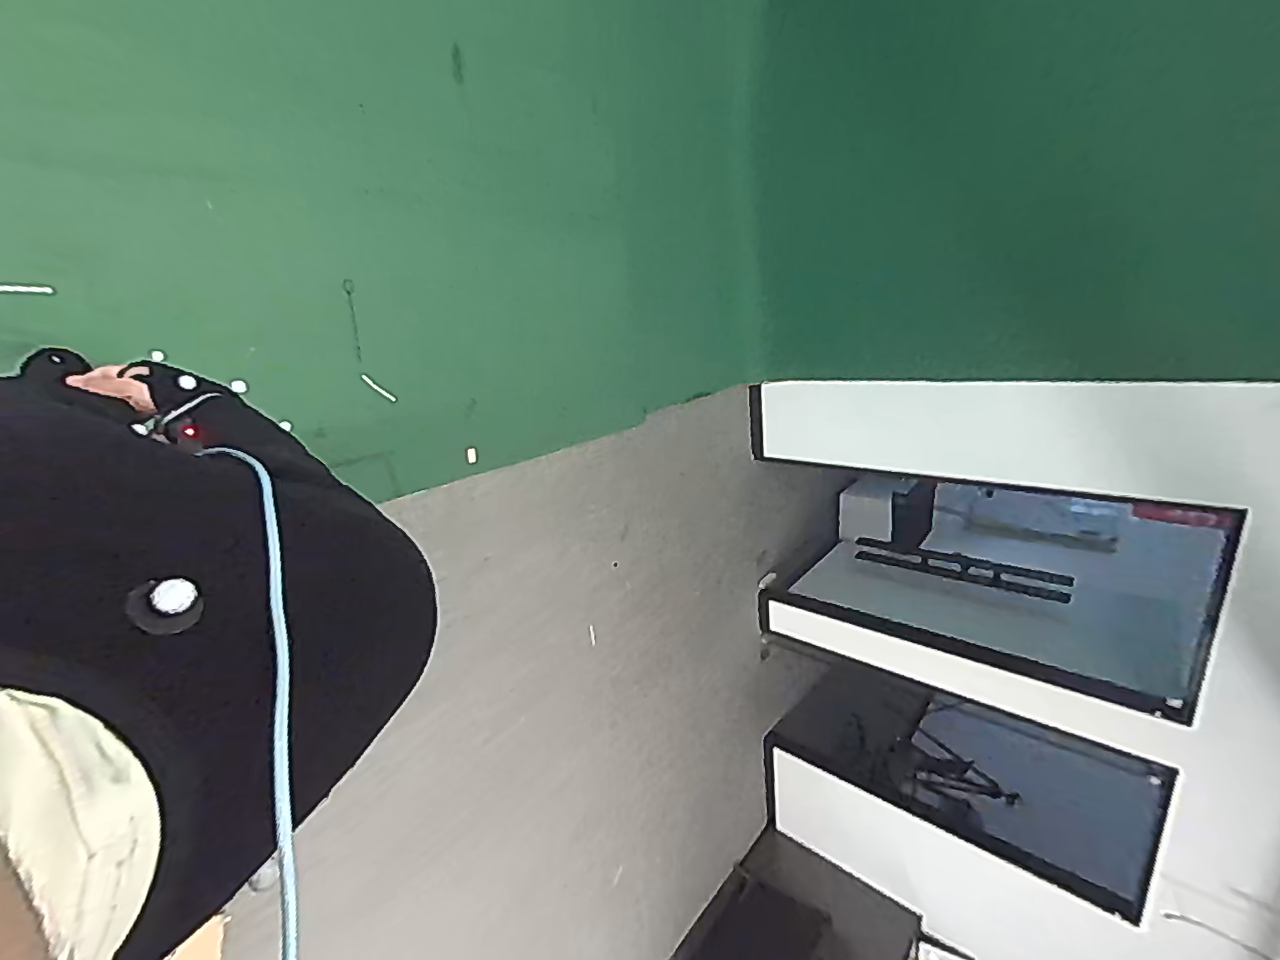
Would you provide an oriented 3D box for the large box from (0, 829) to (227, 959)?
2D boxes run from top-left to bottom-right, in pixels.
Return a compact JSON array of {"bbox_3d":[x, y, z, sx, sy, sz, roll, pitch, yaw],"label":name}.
[{"bbox_3d":[-1.202,1.075,1.189,0.408,0.320,0.320,3,96,-49],"label":"large box"}]
